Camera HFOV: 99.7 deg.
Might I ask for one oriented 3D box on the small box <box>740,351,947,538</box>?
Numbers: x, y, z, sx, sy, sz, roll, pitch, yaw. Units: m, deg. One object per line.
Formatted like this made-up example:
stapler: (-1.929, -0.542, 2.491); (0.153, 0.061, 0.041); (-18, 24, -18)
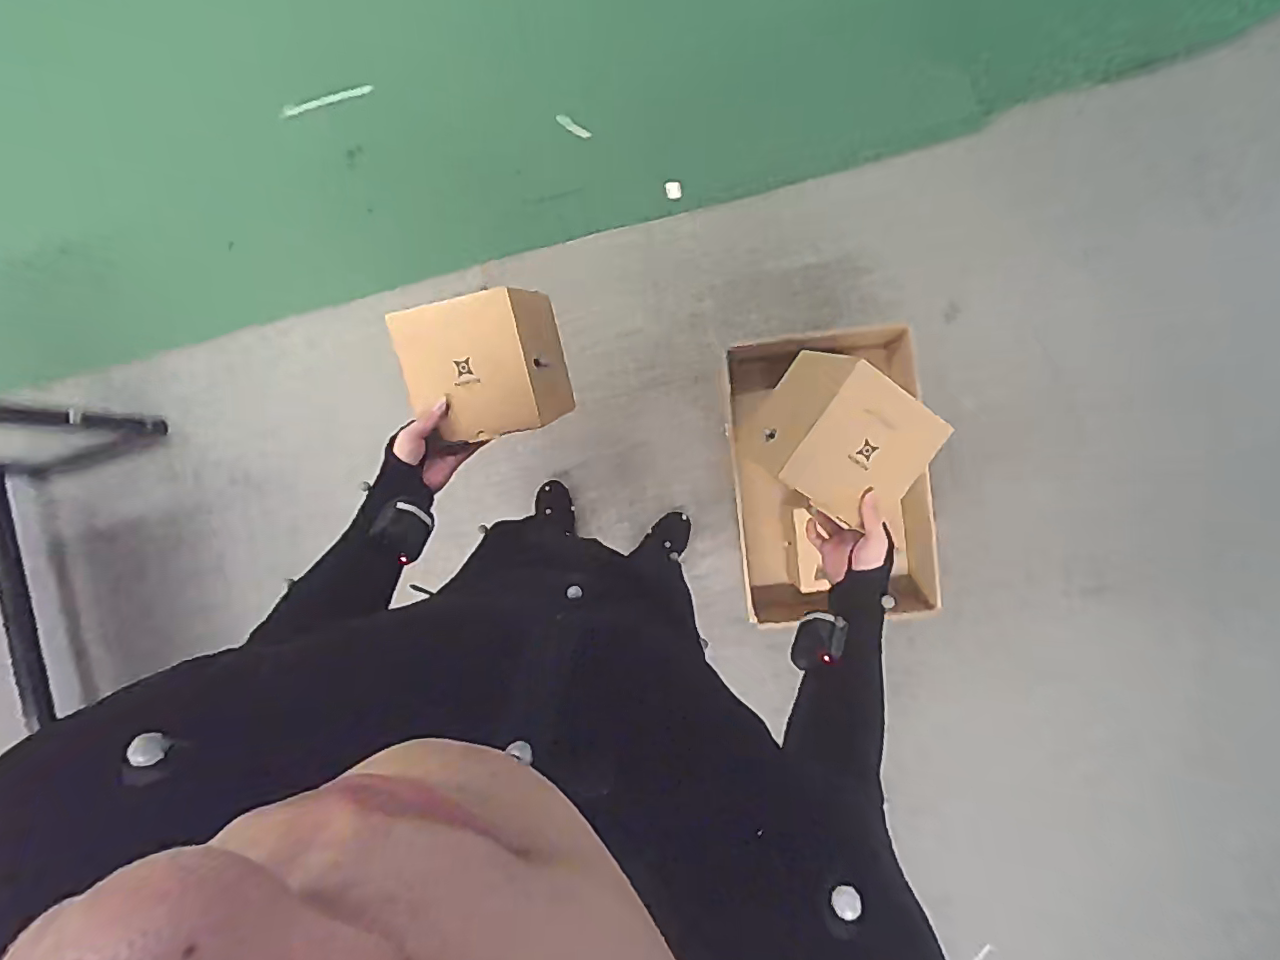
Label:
small box: (0.257, -0.057, 0.736); (0.168, 0.176, 0.179); (31, 100, -17)

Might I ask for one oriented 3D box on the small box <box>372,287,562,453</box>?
small box: (-0.219, -0.151, 0.735); (0.168, 0.176, 0.179); (-10, 106, 10)
